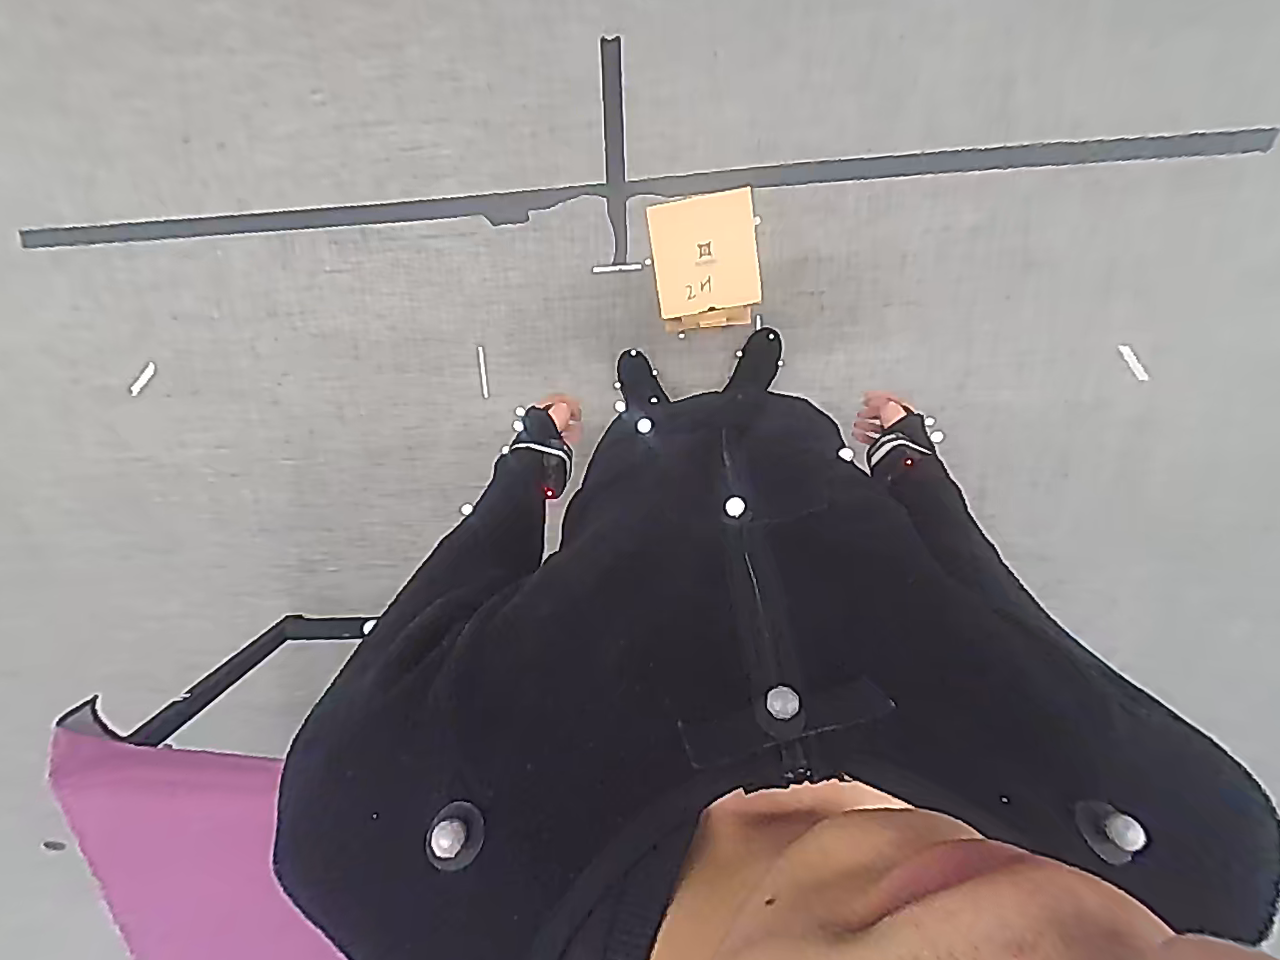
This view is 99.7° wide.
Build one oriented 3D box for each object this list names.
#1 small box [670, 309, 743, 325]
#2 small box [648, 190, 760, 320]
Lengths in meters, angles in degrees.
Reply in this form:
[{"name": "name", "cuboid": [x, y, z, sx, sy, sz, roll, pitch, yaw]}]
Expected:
[{"name": "small box", "cuboid": [0.153, -0.455, 1.260, 0.168, 0.176, 0.179, 2, 108, 3]}, {"name": "small box", "cuboid": [0.108, -0.379, 0.942, 0.168, 0.176, 0.179, -8, 106, 7]}]
